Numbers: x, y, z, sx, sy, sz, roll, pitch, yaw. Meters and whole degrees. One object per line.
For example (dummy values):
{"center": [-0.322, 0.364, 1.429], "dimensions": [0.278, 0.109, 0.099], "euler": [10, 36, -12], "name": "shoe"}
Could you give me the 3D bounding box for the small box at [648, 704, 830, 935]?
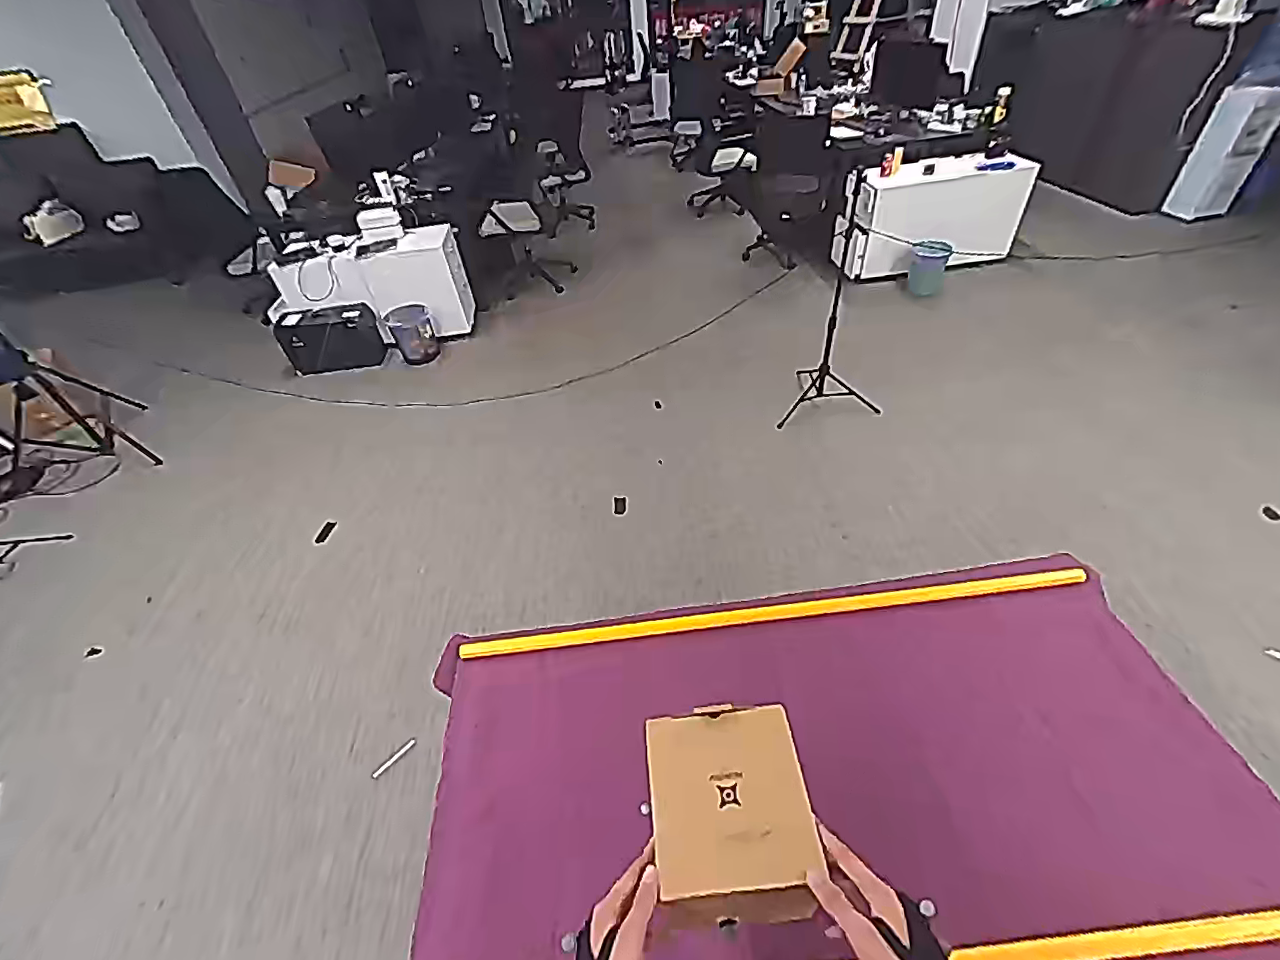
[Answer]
{"center": [0.101, 0.389, 0.623], "dimensions": [0.168, 0.176, 0.179], "euler": [-7, 40, 1], "name": "small box"}
